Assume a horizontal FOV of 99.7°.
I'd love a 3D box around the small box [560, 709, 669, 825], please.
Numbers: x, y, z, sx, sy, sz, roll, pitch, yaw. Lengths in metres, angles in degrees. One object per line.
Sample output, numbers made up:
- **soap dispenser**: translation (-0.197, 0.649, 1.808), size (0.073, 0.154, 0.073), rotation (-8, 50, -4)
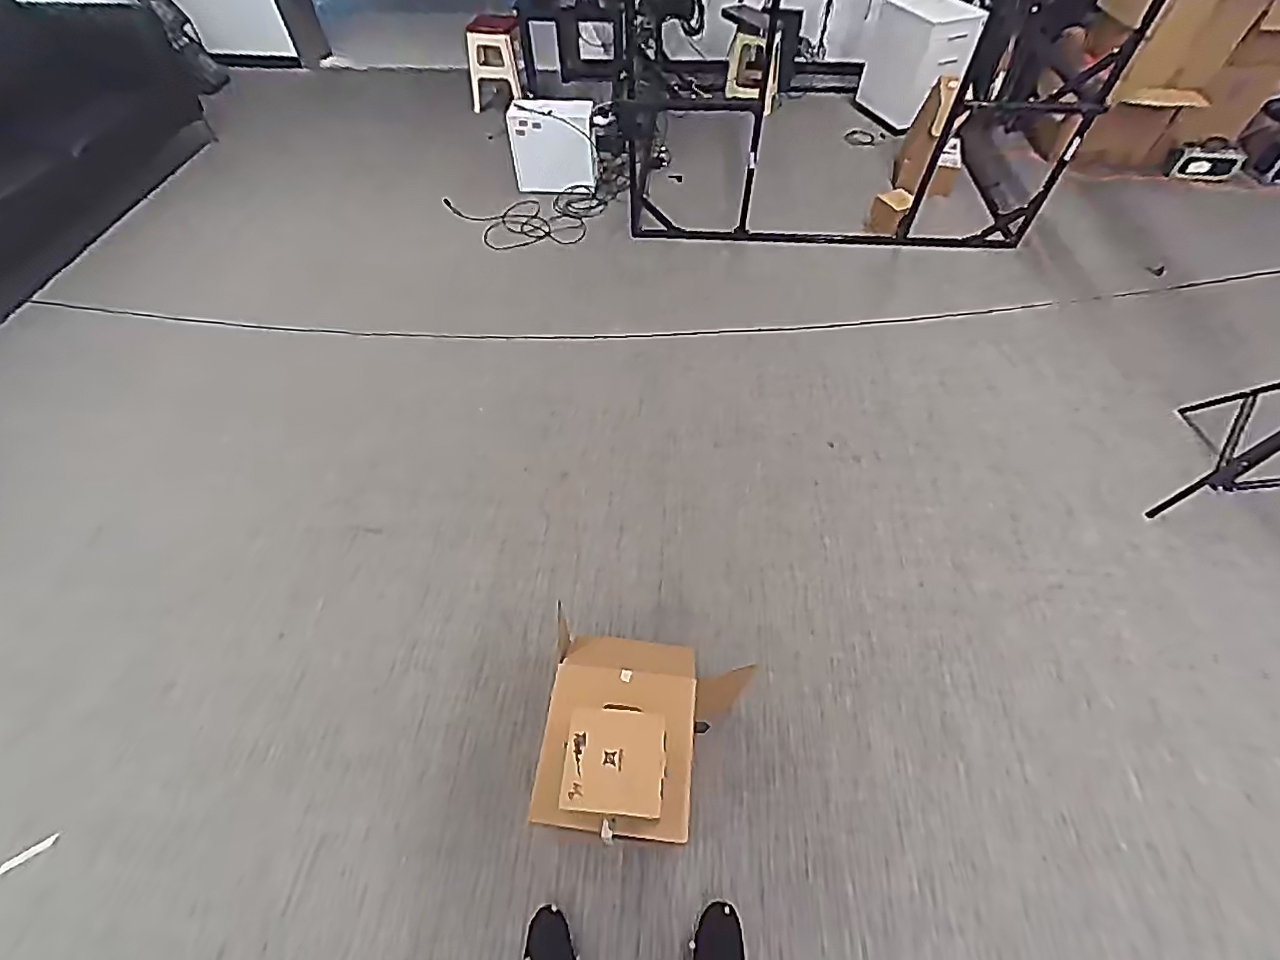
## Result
- **small box**: translation (-0.042, 0.545, 1.020), size (0.179, 0.176, 0.168), rotation (5, 56, 4)
